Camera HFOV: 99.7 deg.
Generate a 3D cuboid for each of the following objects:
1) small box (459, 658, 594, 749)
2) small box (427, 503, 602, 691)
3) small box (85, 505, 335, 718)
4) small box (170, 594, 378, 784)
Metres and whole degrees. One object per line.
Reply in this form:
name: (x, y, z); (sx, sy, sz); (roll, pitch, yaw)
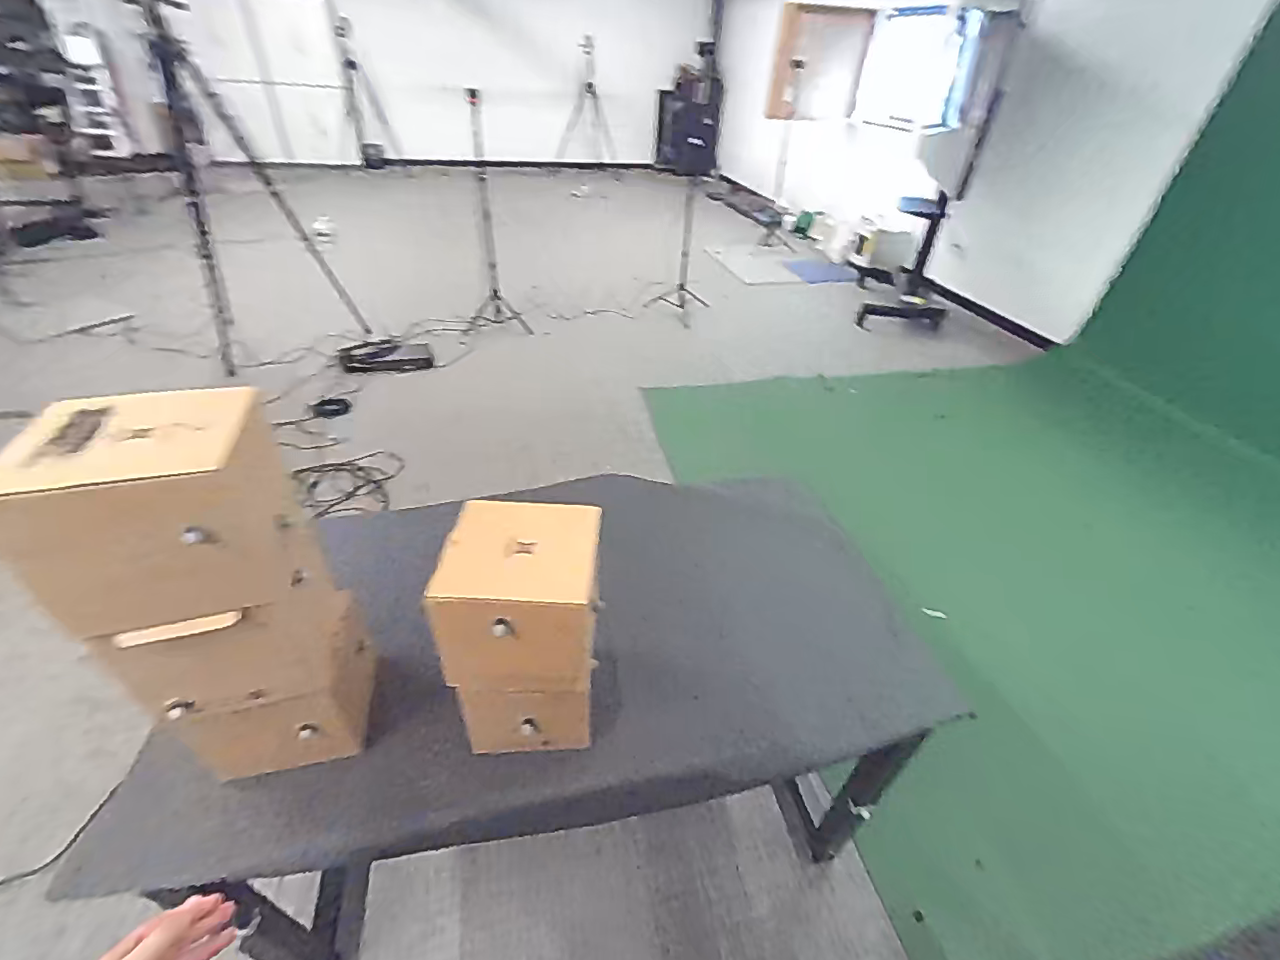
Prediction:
small box: (-0.152, 0.274, 0.790); (0.168, 0.176, 0.179); (-1, 38, -4)
small box: (-0.141, 0.149, 0.685); (0.179, 0.176, 0.168); (2, 37, 0)
small box: (-0.485, 0.159, 0.650); (0.168, 0.176, 0.179); (-9, 37, -16)
small box: (-0.482, 0.288, 0.752); (0.179, 0.176, 0.168); (-8, 37, -12)
